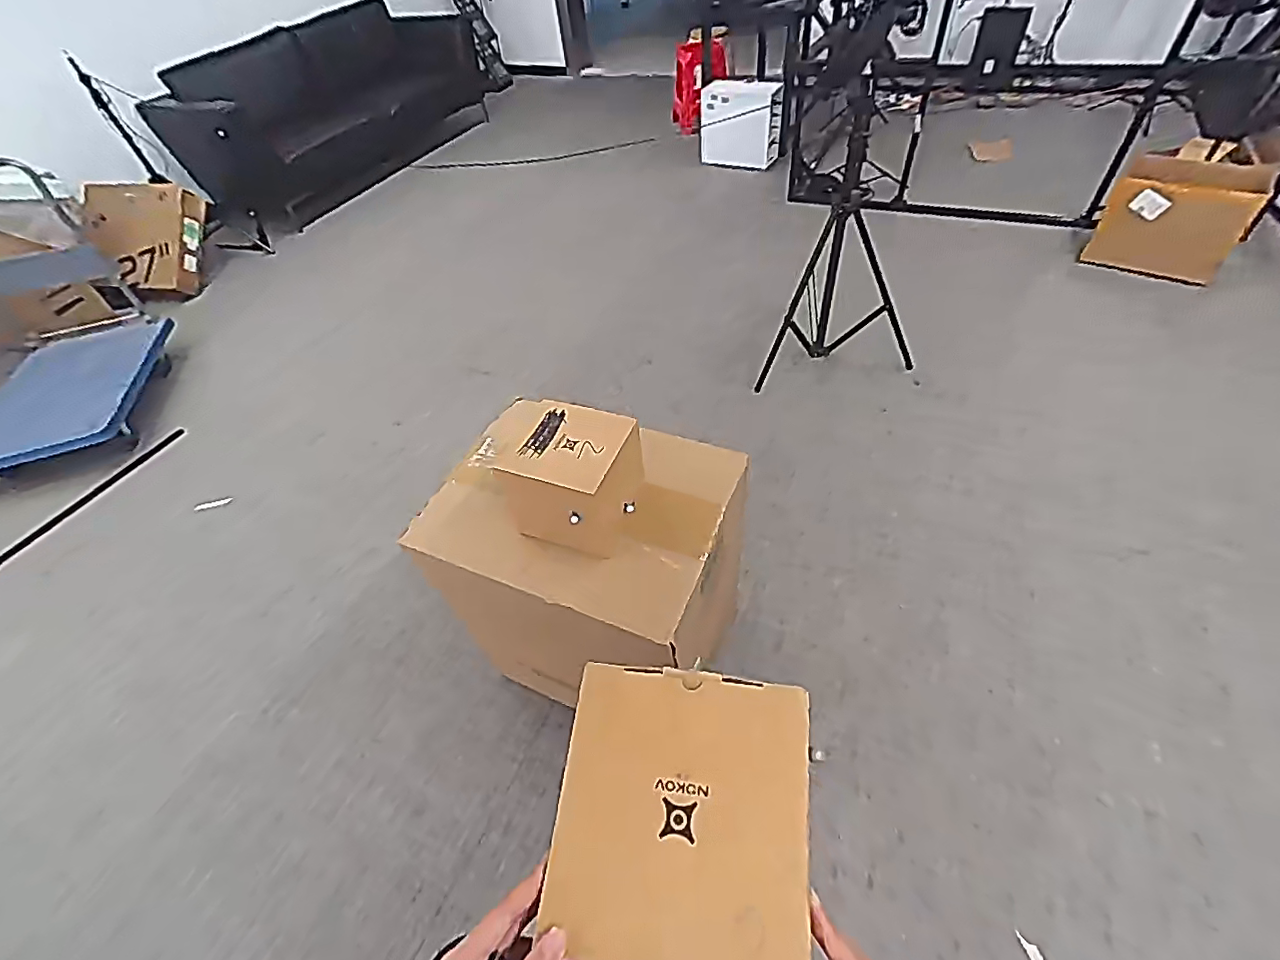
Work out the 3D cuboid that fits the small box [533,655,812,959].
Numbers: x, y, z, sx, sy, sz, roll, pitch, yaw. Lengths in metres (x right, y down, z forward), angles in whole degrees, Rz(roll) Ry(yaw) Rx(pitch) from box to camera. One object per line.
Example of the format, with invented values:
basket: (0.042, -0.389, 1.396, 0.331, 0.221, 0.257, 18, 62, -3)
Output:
small box: (0.038, 0.250, 0.414, 0.168, 0.176, 0.179, 2, 59, 11)
